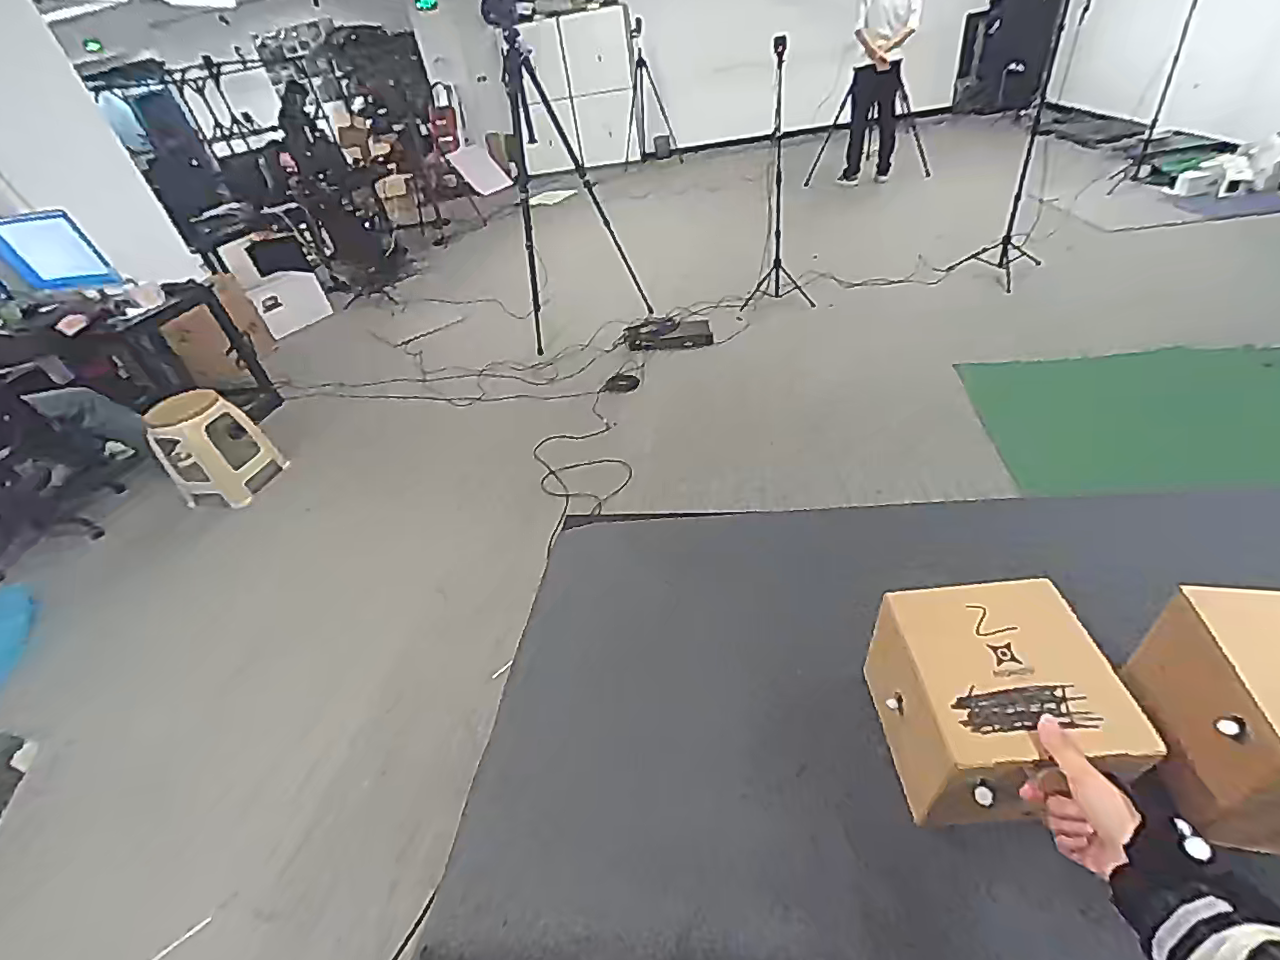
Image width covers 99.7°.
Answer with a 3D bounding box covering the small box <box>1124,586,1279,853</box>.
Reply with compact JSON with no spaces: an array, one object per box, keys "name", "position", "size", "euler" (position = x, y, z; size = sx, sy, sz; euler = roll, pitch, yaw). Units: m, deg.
[{"name":"small box","position":[0.611,0.226,0.505],"size":[0.168,0.176,0.179],"euler":[2,40,15]}]
